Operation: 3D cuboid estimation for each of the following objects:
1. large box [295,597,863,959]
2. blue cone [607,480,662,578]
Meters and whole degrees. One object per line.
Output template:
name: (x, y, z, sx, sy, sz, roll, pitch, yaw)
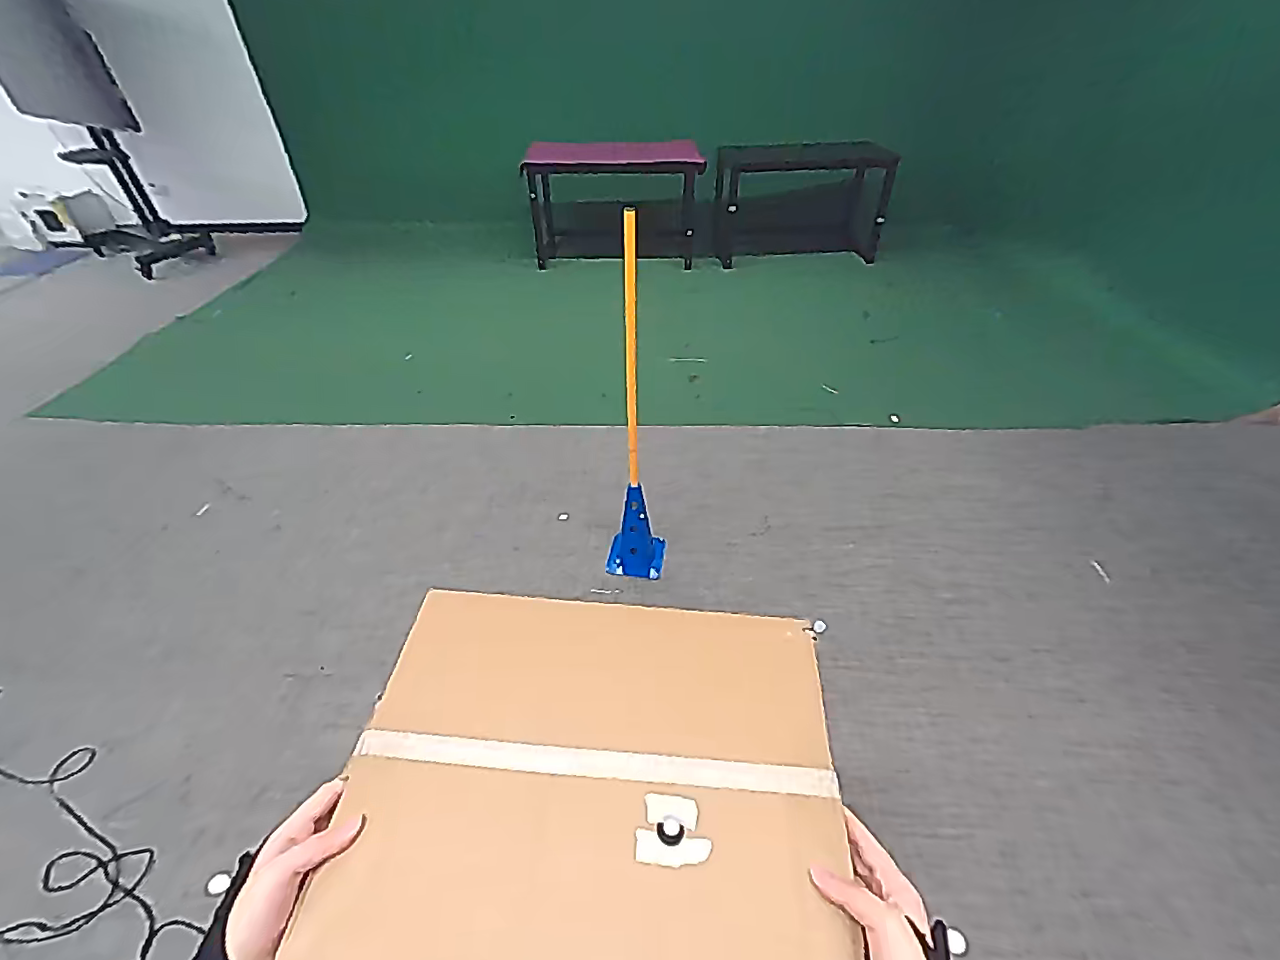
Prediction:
large box: (-0.039, 0.351, 0.573, 0.408, 0.320, 0.320, 5, 45, 2)
blue cone: (-0.020, 0.161, 1.910, 0.193, 0.380, 0.192, 7, 40, 8)
